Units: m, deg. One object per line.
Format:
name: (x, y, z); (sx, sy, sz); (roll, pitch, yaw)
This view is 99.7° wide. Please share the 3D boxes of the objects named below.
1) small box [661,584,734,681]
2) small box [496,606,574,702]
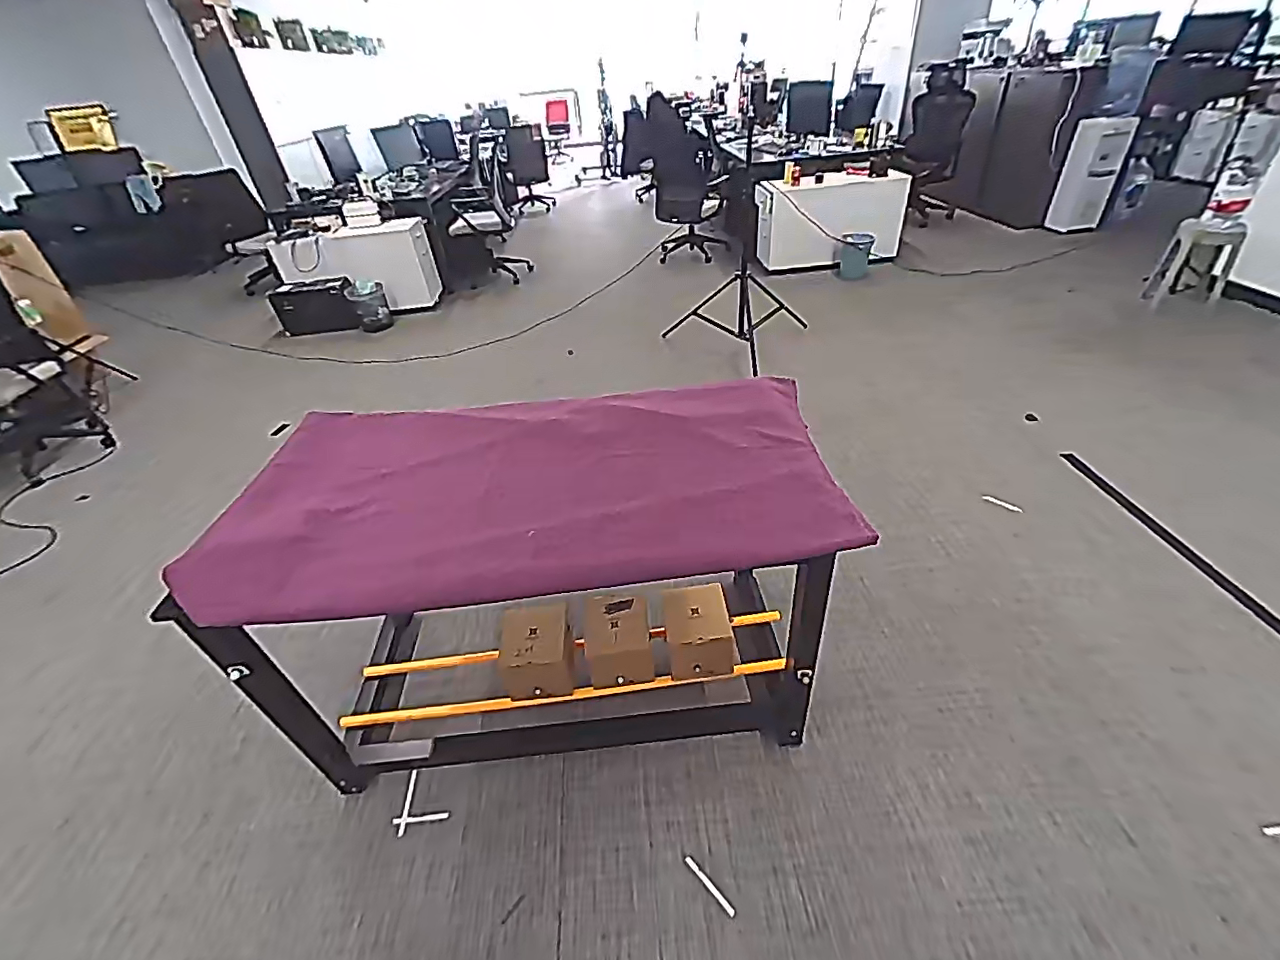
small box: (0.148, 0.405, 1.437); (0.168, 0.176, 0.179); (-8, 39, -1)
small box: (-0.269, 0.459, 1.431); (0.168, 0.176, 0.179); (-6, 39, 0)
